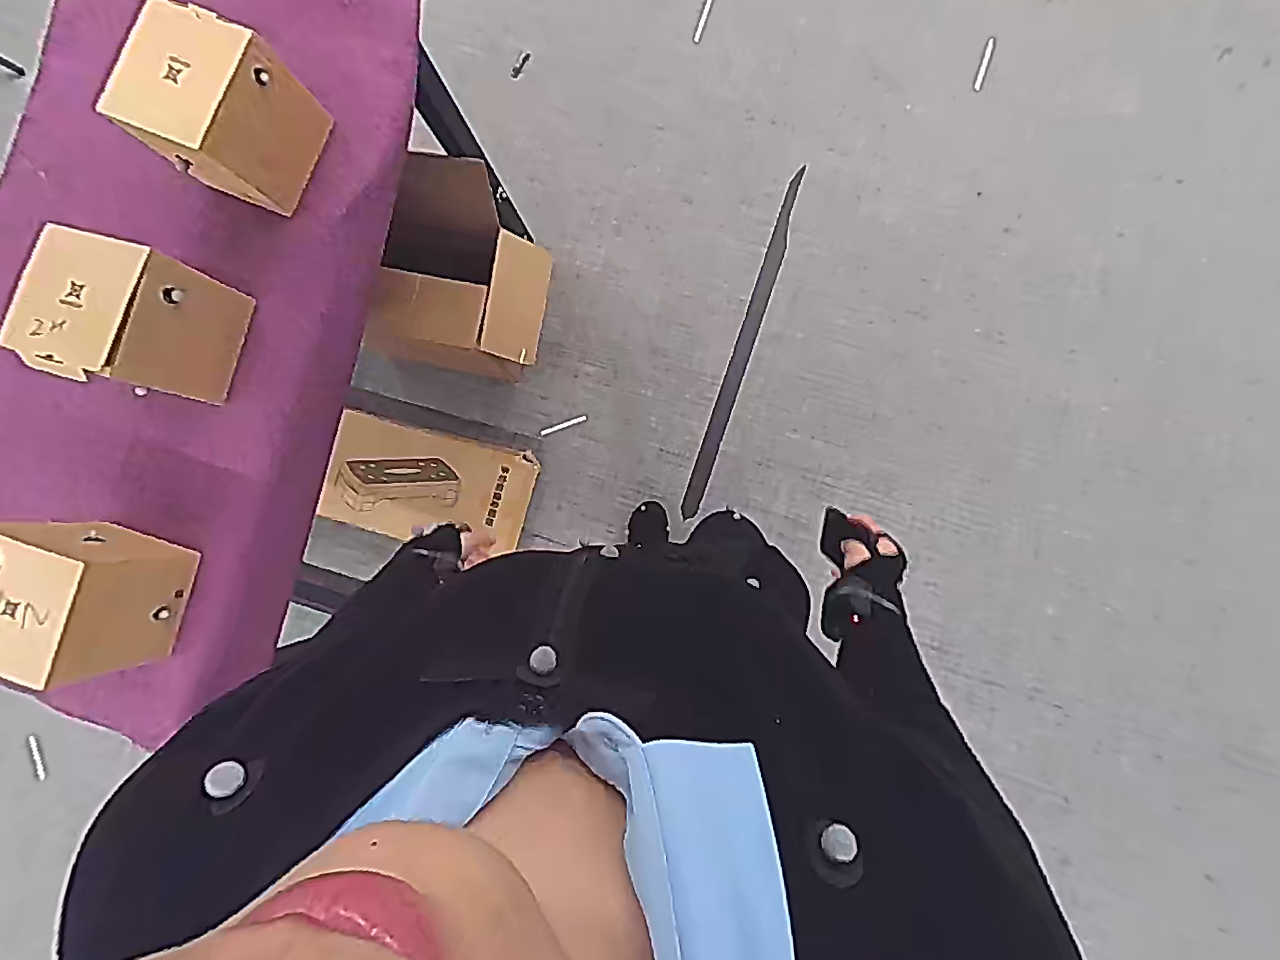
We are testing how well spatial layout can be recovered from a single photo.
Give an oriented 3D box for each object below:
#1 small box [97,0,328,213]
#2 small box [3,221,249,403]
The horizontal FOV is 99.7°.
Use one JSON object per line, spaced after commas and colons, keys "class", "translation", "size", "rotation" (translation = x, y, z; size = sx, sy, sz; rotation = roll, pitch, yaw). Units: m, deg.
{"class": "small box", "translation": [-0.594, -0.524, 0.776], "size": [0.168, 0.176, 0.179], "rotation": [23, 88, 6]}
{"class": "small box", "translation": [-0.703, -0.225, 0.763], "size": [0.168, 0.176, 0.179], "rotation": [15, 88, 8]}
